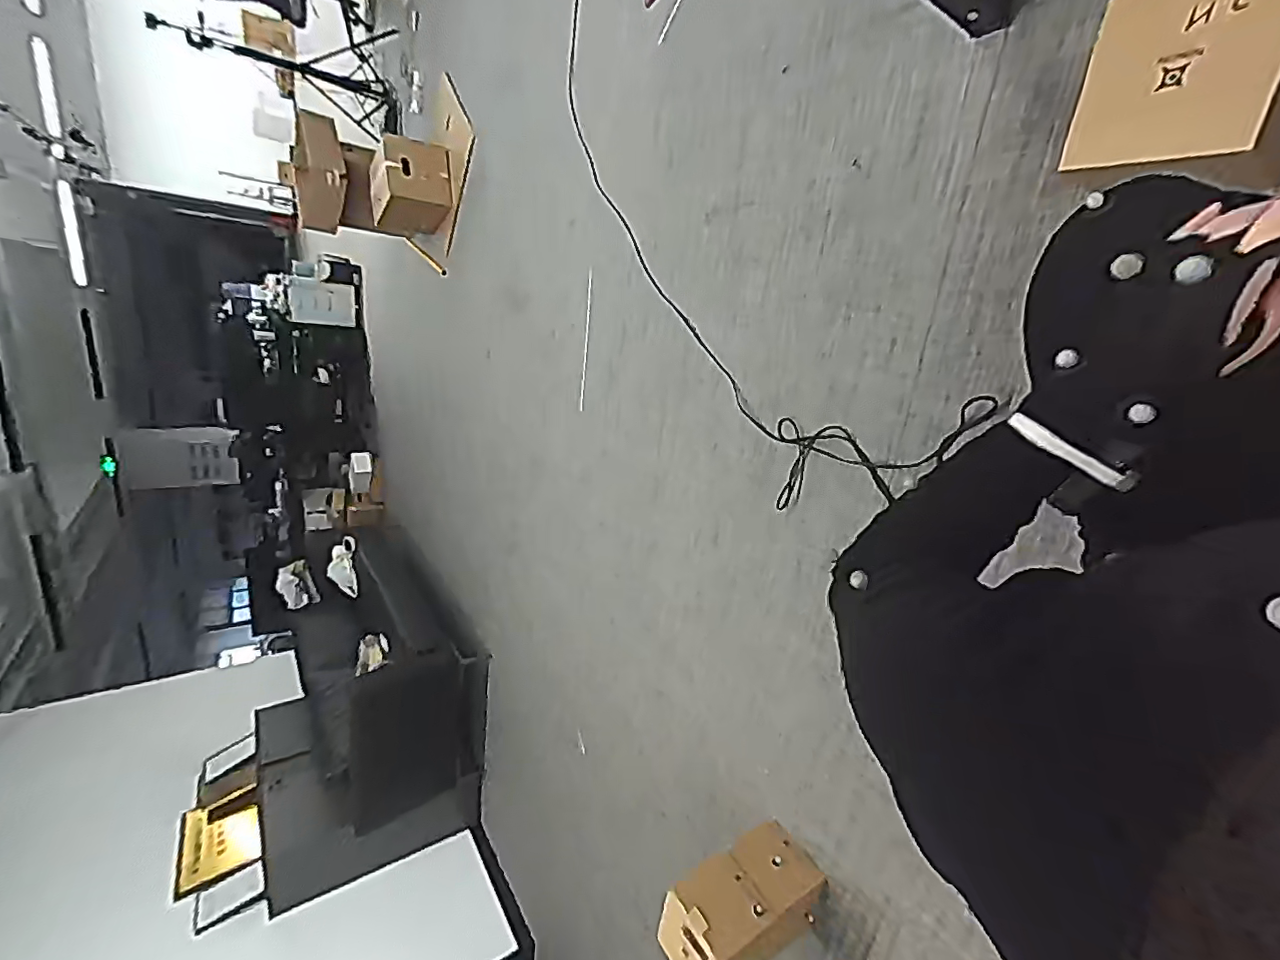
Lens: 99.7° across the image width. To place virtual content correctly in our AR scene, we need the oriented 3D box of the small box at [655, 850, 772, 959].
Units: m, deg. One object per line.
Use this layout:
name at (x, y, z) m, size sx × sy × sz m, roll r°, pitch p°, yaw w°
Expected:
small box at (0.158, 0.952, 1.161) m, size 0.168 × 0.176 × 0.179 m, roll 33°, pitch 121°, yaw 48°

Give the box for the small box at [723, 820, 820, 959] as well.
small box at (0.291, 0.943, 1.258) m, size 0.168 × 0.176 × 0.179 m, roll 32°, pitch 119°, yaw 49°
